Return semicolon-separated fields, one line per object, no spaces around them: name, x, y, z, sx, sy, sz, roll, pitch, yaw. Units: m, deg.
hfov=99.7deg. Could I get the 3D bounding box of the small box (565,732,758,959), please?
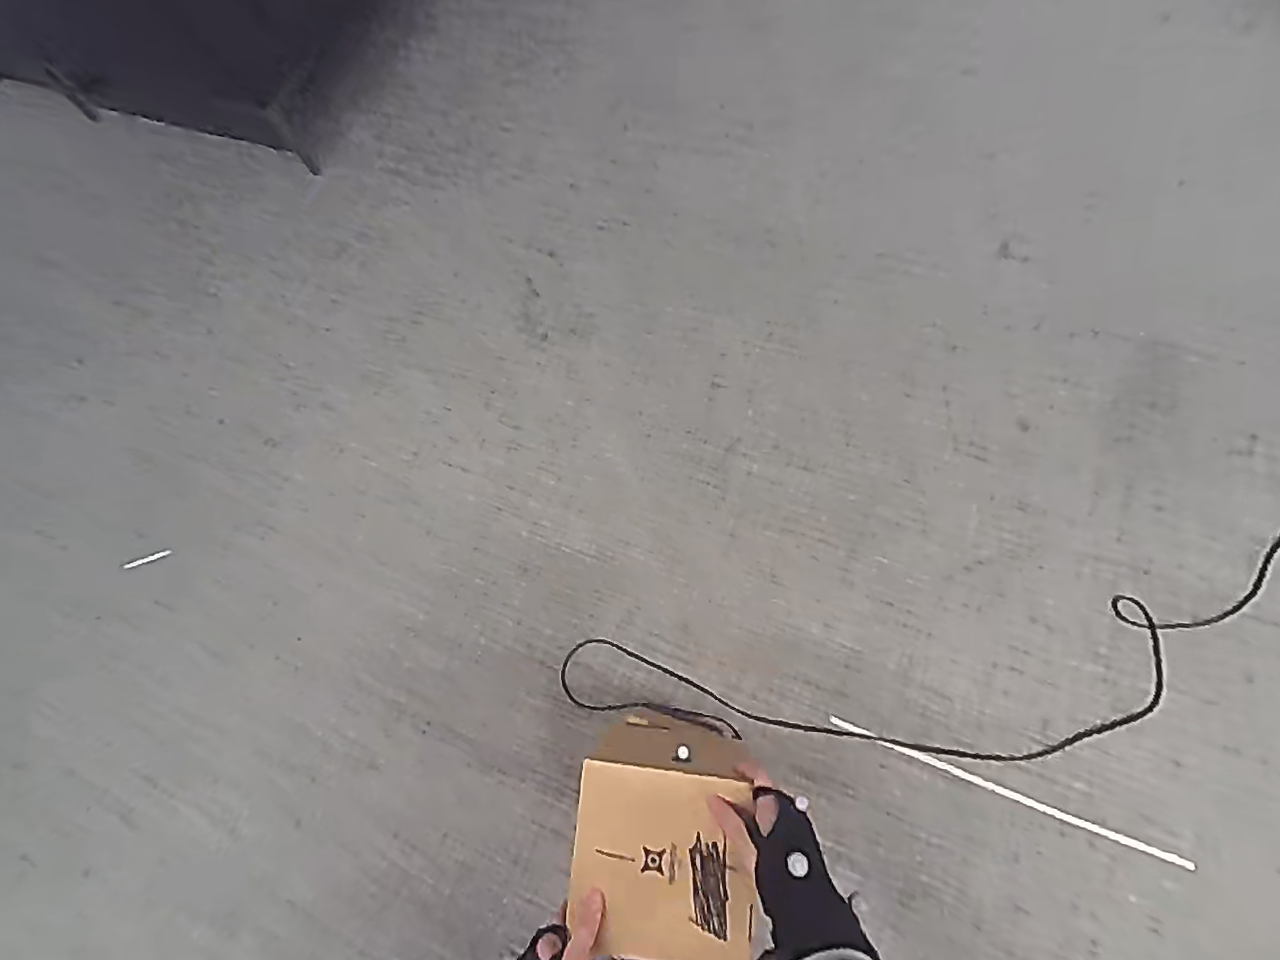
small box;0.030;0.390;0.596;0.179;0.176;0.168;3;78;8
